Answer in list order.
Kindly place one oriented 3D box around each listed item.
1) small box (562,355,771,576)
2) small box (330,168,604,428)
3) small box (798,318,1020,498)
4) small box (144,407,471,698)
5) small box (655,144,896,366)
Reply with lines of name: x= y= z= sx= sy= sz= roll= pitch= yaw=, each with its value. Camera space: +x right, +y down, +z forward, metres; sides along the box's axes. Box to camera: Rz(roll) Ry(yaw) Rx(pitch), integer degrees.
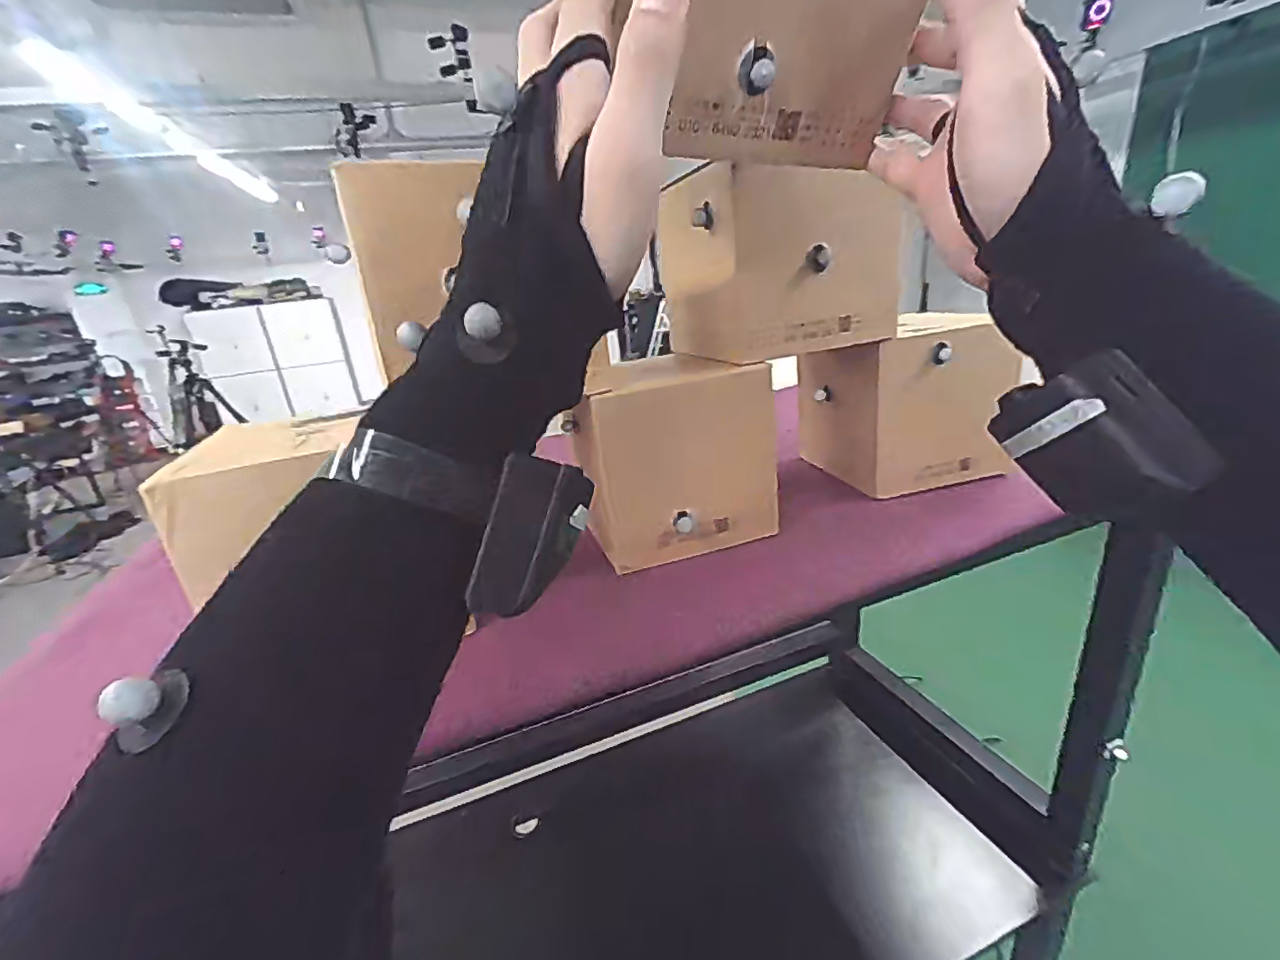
small box: x=0.018 y=-0.026 z=0.552 sx=0.168 sy=0.176 sz=0.179 roll=-13 pitch=21 yaw=-14
small box: x=-0.140 y=-0.145 z=0.453 sx=0.168 sy=0.176 sz=0.179 roll=-15 pitch=20 yaw=-22
small box: x=0.294 y=-0.091 z=0.631 sx=0.168 sy=0.176 sz=0.179 roll=-11 pitch=20 yaw=-9
small box: x=-0.245 y=0.041 z=0.449 sx=0.168 sy=0.176 sz=0.179 roll=-14 pitch=22 yaw=-18
small box: x=0.127 y=-0.213 z=0.539 sx=0.168 sy=0.176 sz=0.179 roll=-12 pitch=20 yaw=-14
